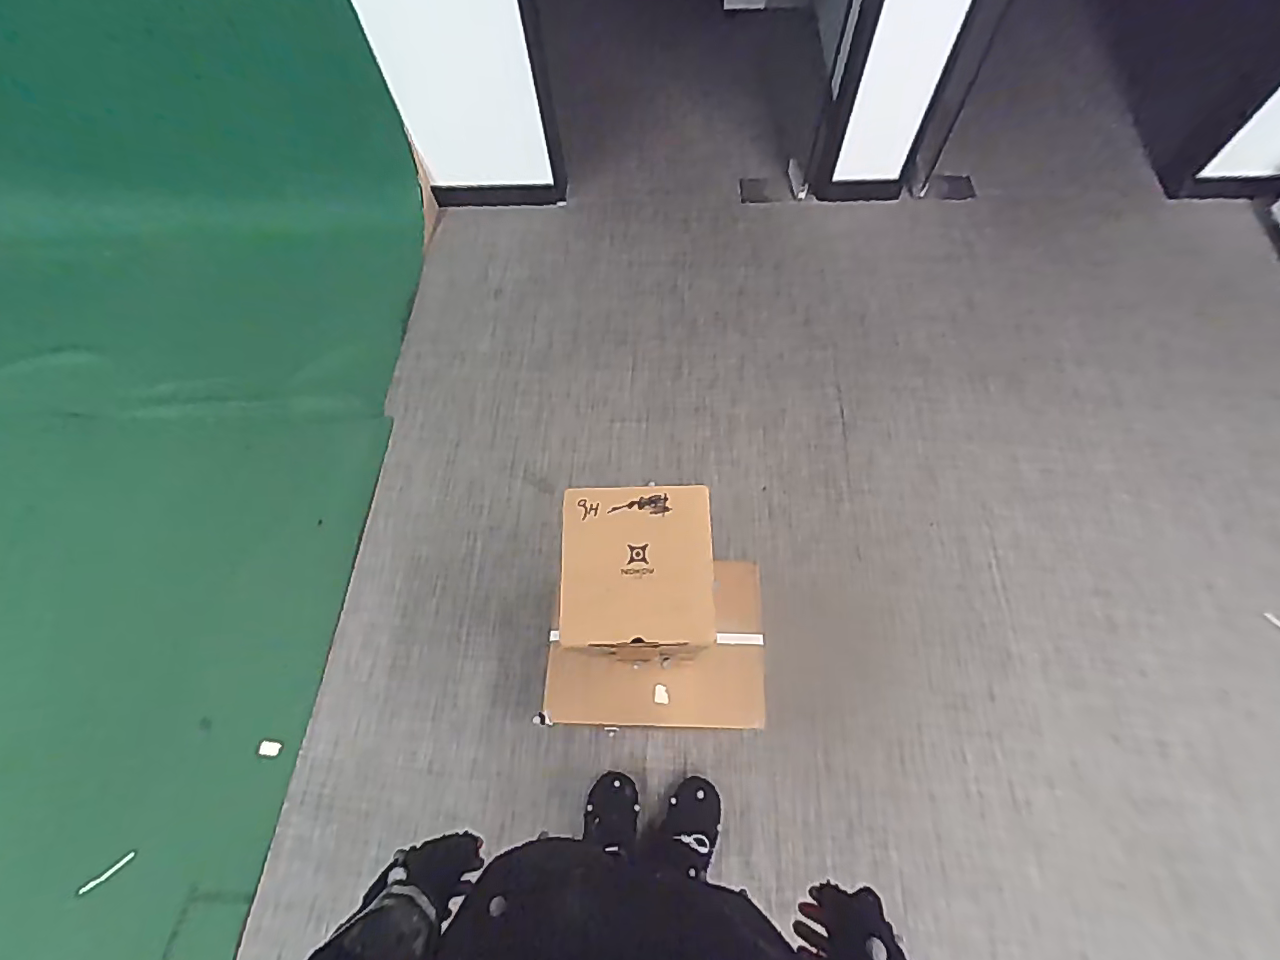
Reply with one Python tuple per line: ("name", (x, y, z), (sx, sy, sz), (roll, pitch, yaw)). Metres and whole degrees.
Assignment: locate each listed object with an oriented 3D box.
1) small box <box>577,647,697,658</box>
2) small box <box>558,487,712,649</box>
("small box", (0.000, 0.175, 0.820), (0.168, 0.176, 0.179), (0, 69, 1))
("small box", (-0.002, 0.116, 0.667), (0.168, 0.176, 0.179), (-1, 71, 1))
